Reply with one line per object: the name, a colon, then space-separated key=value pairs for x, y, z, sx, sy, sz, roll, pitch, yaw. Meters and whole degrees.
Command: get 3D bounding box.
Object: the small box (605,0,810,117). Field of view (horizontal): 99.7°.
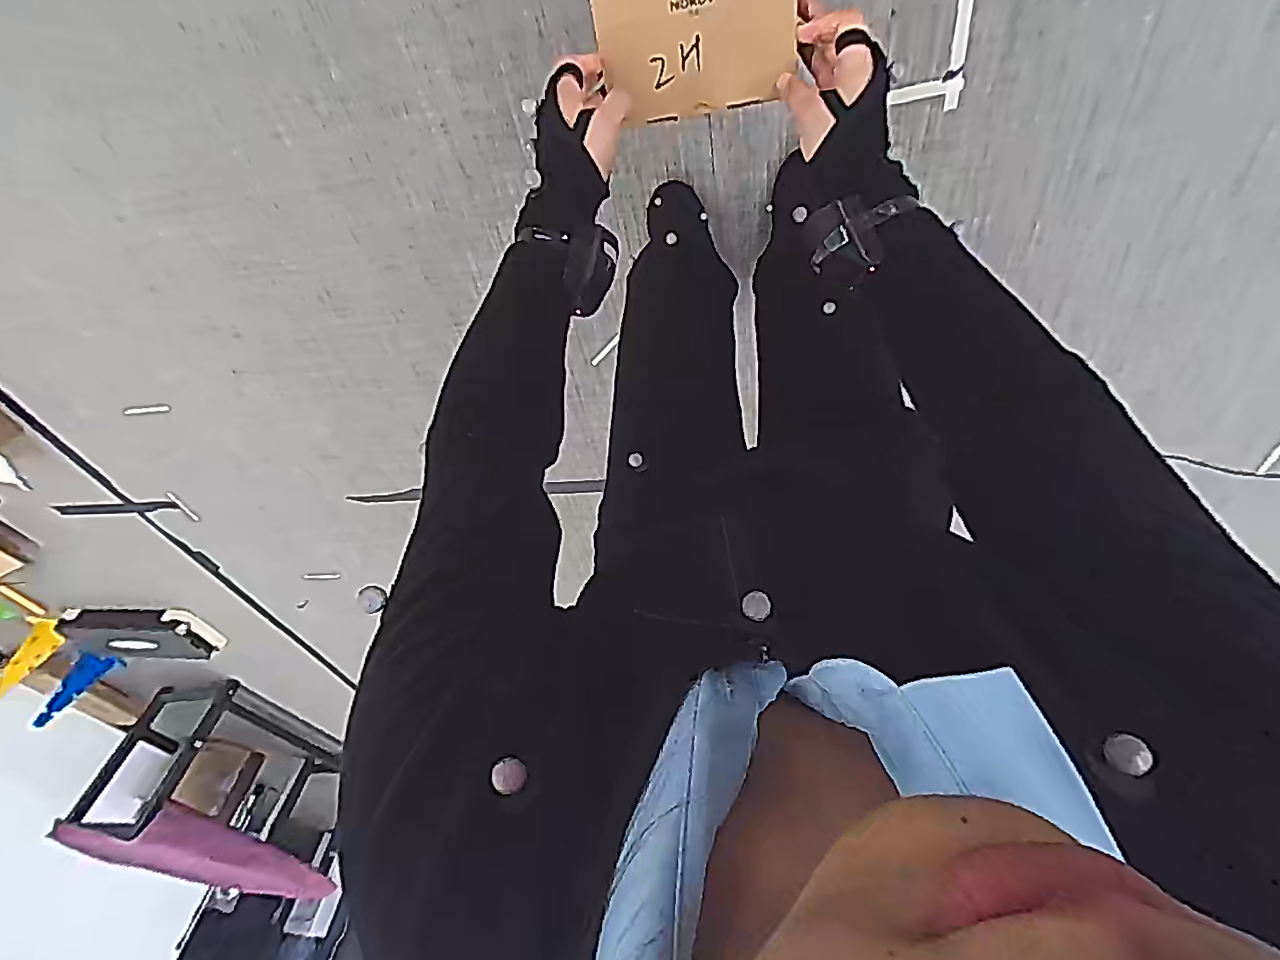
small box: x=0.061 y=-0.451 z=0.478 sx=0.168 sy=0.176 sz=0.179 roll=-1 pitch=134 yaw=14
